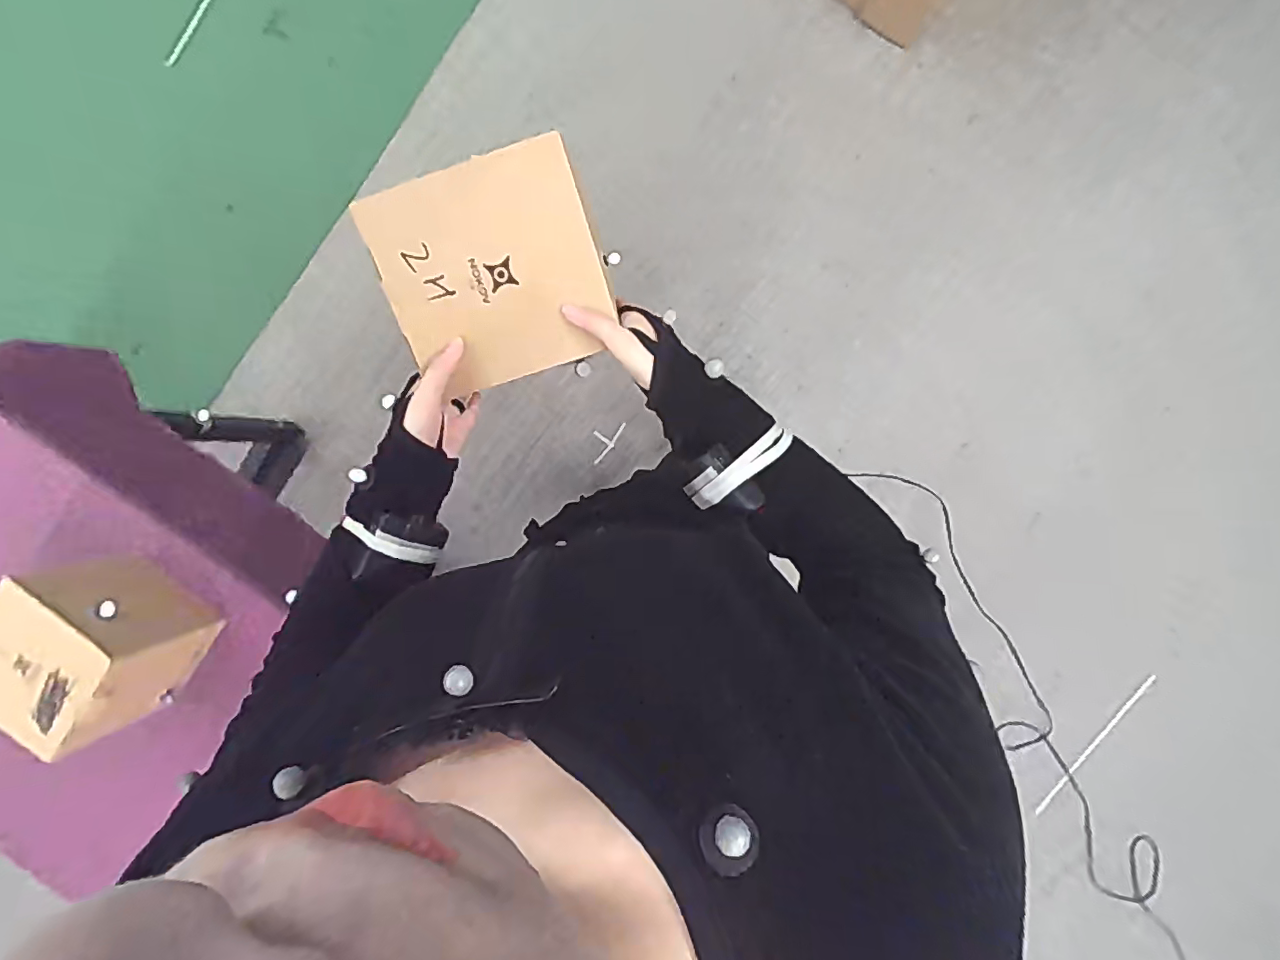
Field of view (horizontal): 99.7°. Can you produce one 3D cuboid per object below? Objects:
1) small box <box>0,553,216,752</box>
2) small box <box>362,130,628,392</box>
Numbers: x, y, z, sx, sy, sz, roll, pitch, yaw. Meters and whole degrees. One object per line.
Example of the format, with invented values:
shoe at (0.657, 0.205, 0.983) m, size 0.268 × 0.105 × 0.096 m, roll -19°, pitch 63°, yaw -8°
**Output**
small box at (-0.750, 0.220, 0.746) m, size 0.179 × 0.176 × 0.168 m, roll 36°, pitch 95°, yaw 2°
small box at (-0.114, -0.193, 0.512) m, size 0.179 × 0.176 × 0.168 m, roll -14°, pitch 105°, yaw 5°
